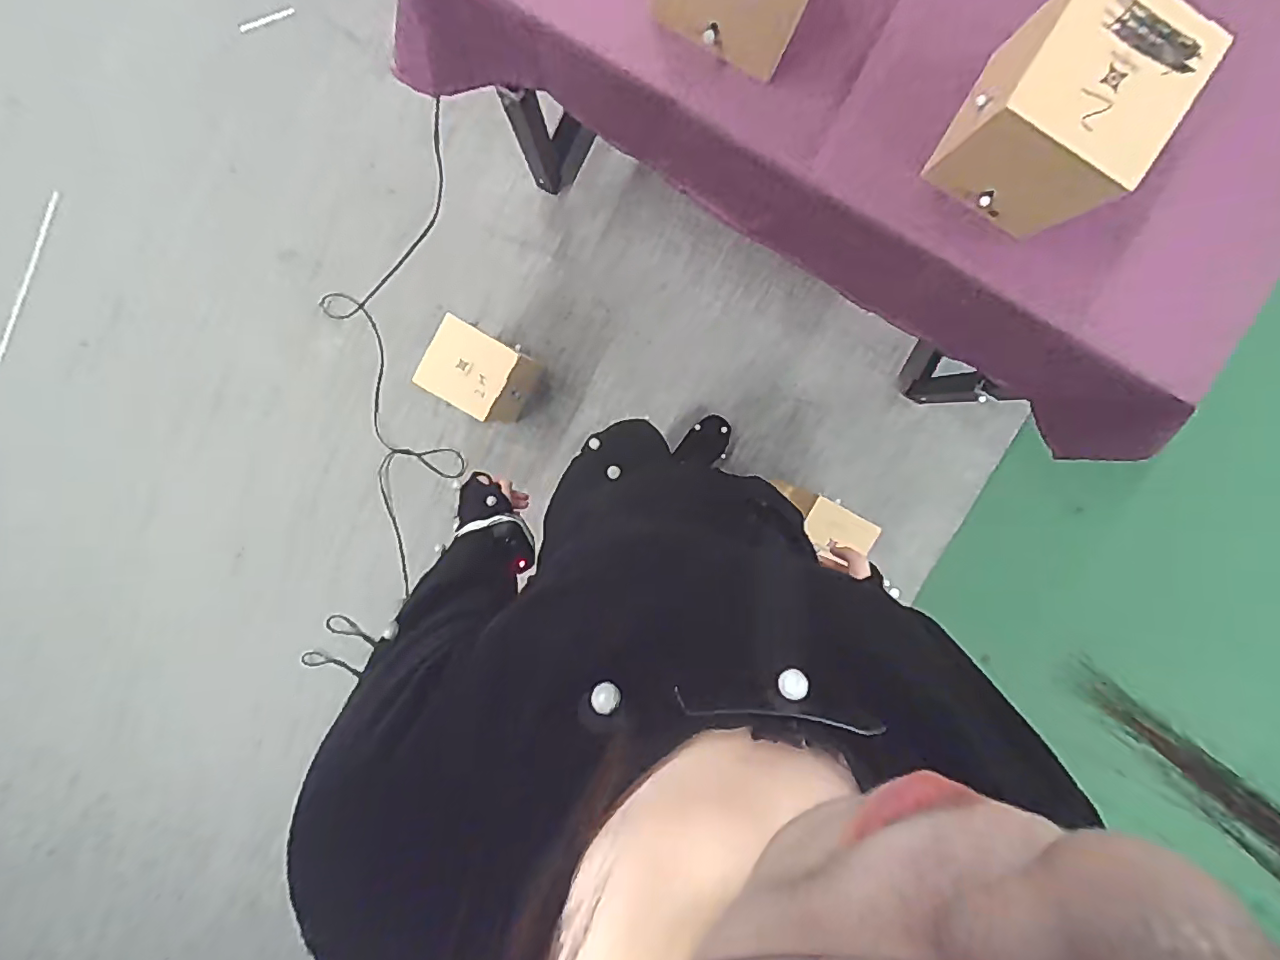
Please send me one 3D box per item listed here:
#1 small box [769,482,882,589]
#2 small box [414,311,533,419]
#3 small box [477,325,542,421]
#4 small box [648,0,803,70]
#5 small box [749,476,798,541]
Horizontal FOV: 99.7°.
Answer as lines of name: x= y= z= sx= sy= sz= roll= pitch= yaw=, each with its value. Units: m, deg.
small box: x=0.423 y=0.122 z=1.274 sx=0.168 sy=0.176 sz=0.179 roll=28 pitch=96 yaw=-6
small box: x=-0.363 y=-0.248 z=1.210 sx=0.179 sy=0.176 sz=0.168 roll=30 pitch=96 yaw=-5
small box: x=-0.364 y=-0.265 z=1.374 sx=0.168 sy=0.176 sz=0.179 roll=29 pitch=95 yaw=-5
small box: x=0.122 y=-0.612 z=0.602 sx=0.179 sy=0.176 sz=0.168 roll=26 pitch=96 yaw=-5
small box: x=0.412 y=0.098 z=1.434 sx=0.179 sy=0.176 sz=0.168 roll=26 pitch=96 yaw=-5
